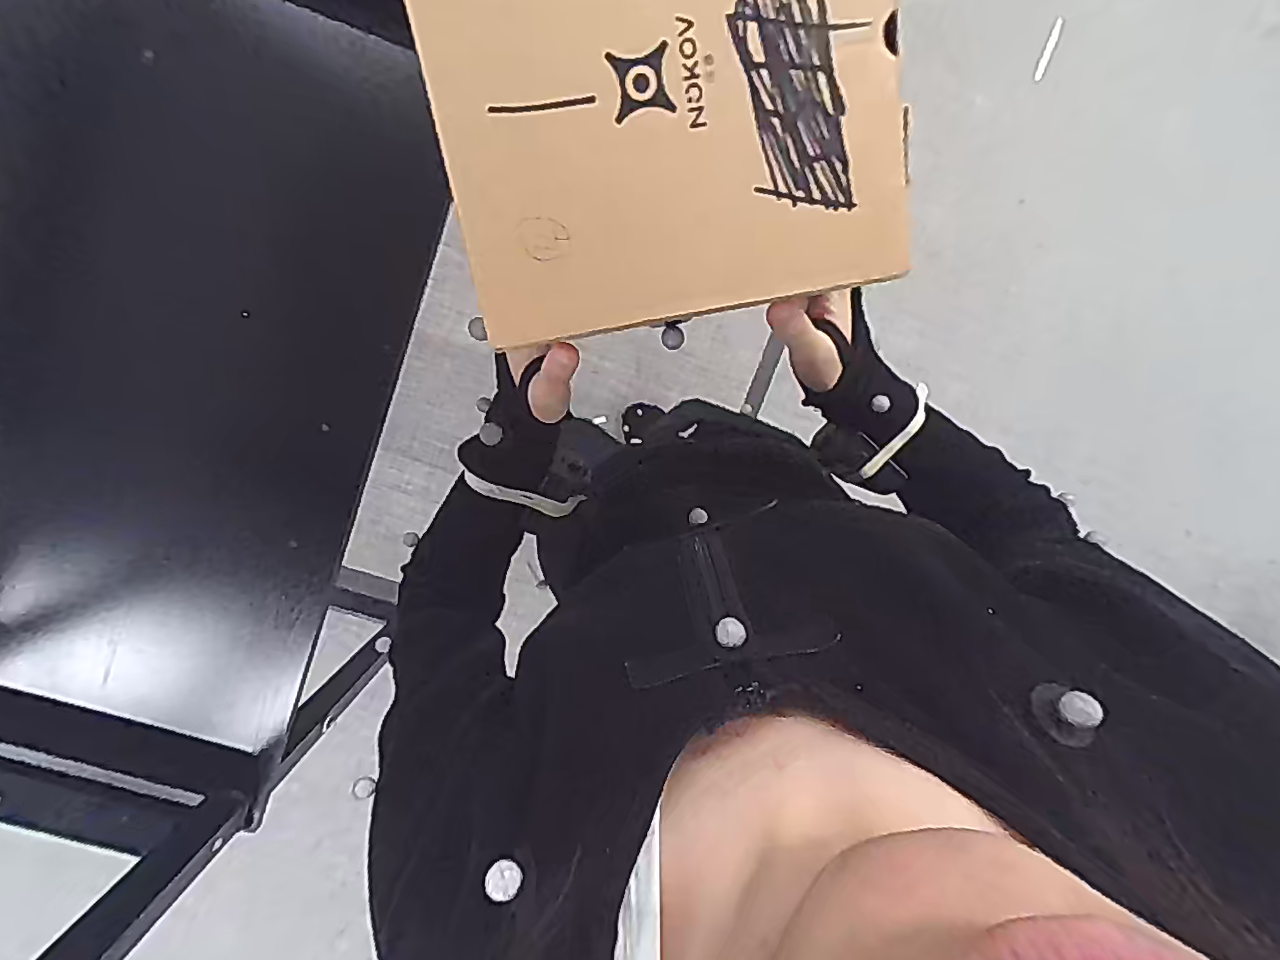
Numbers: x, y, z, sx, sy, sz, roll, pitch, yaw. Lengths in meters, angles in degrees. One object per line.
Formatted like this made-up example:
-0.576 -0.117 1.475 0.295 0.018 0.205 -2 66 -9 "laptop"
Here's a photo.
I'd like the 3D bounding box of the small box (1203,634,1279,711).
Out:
1.841 0.575 1.590 0.179 0.176 0.168 20 97 -5 "small box"
